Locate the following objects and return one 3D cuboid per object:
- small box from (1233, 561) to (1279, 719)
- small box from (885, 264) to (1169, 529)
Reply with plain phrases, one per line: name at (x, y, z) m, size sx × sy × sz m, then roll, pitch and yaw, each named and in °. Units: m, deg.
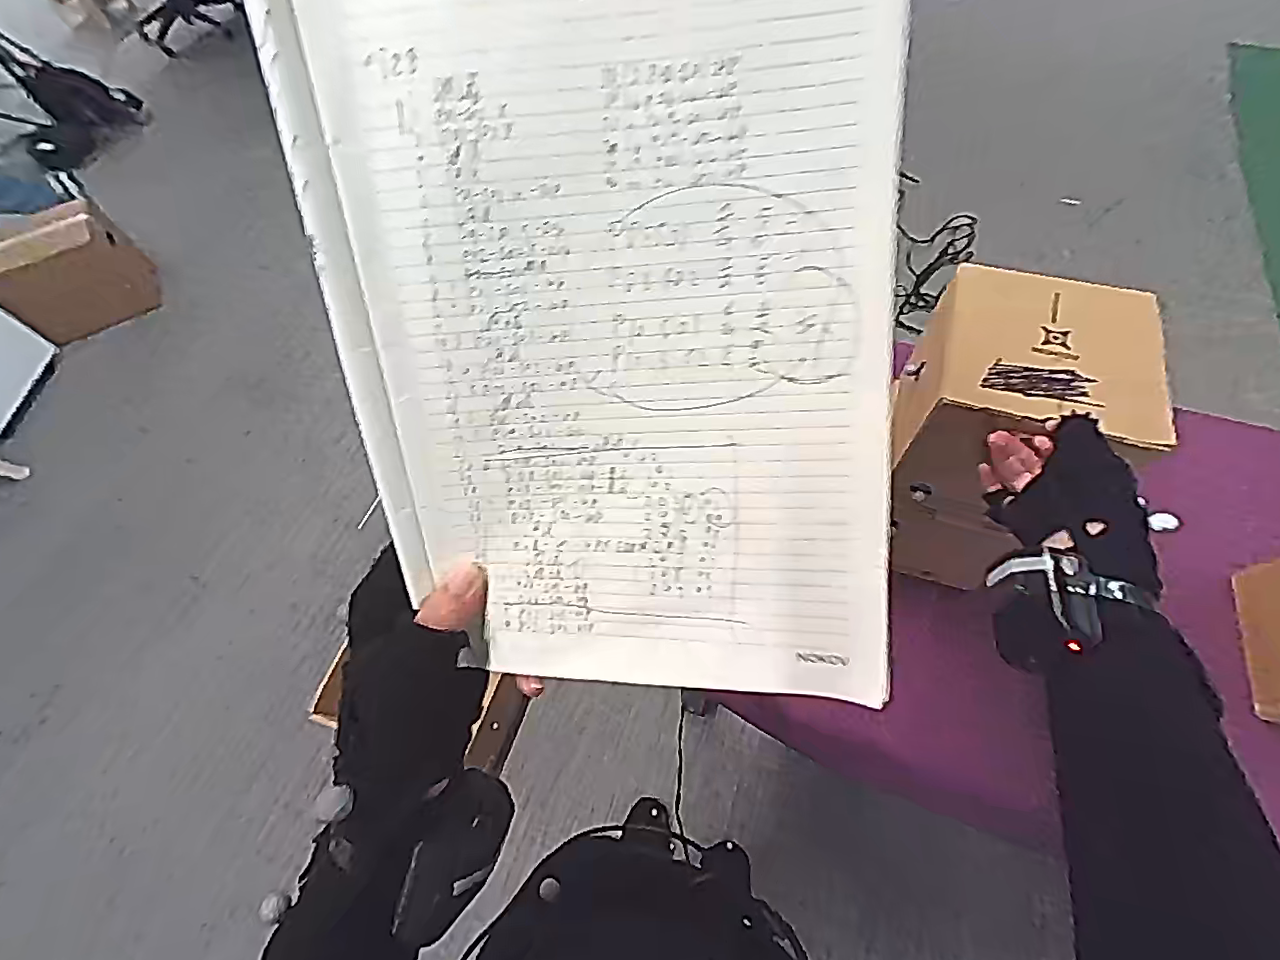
small box at (0.777, 0.175, 0.549) m, size 0.168 × 0.176 × 0.179 m, roll 15°, pitch 63°, yaw 13°
small box at (0.358, -0.074, 0.531) m, size 0.168 × 0.176 × 0.179 m, roll 16°, pitch 63°, yaw 13°
